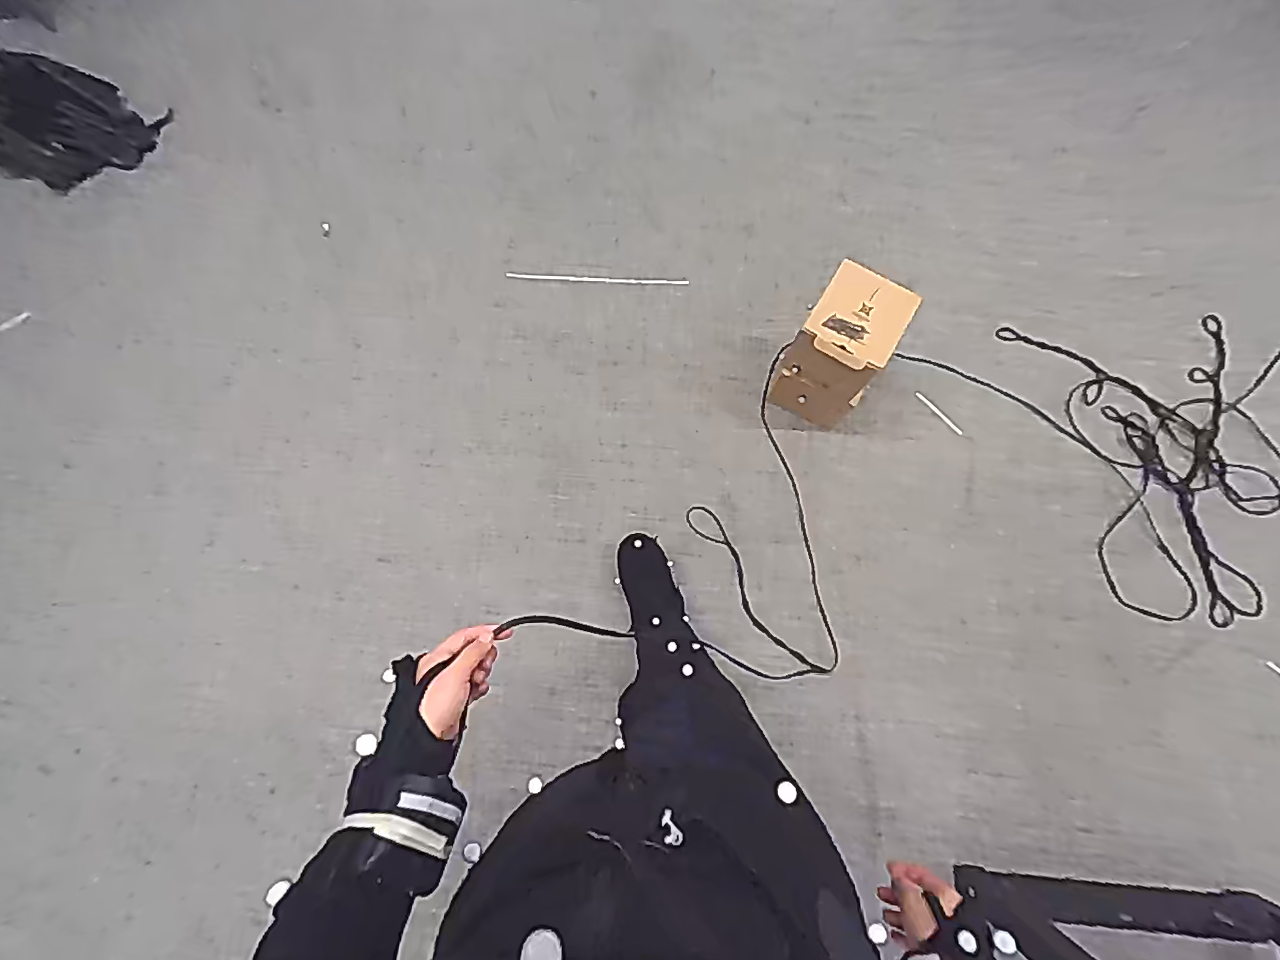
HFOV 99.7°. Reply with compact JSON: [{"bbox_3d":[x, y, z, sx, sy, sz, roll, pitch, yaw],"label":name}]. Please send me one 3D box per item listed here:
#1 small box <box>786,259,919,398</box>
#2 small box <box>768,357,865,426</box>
[{"bbox_3d":[0.412,-0.293,1.083,0.168,0.176,0.179,31,79,8],"label":"small box"},{"bbox_3d":[0.415,-0.245,1.241,0.179,0.176,0.168,26,79,7],"label":"small box"}]
